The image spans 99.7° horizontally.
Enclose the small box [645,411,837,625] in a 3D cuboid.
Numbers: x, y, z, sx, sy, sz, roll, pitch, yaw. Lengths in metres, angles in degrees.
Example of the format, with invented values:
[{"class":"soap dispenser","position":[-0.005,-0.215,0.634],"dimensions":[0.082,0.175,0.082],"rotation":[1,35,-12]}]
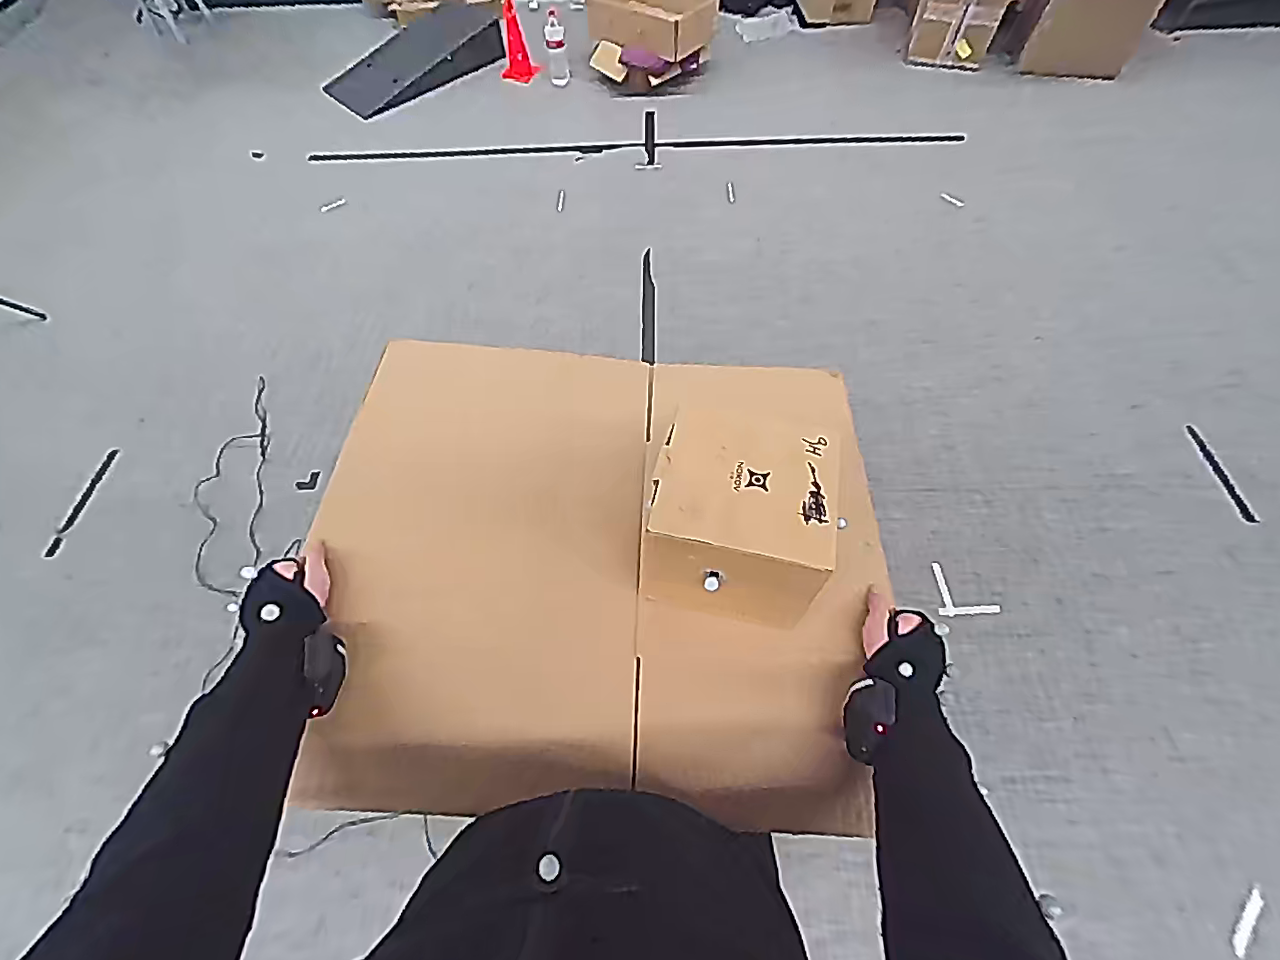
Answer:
[{"class":"small box","position":[0.109,0.048,0.609],"dimensions":[0.179,0.176,0.168],"rotation":[10,58,8]}]
